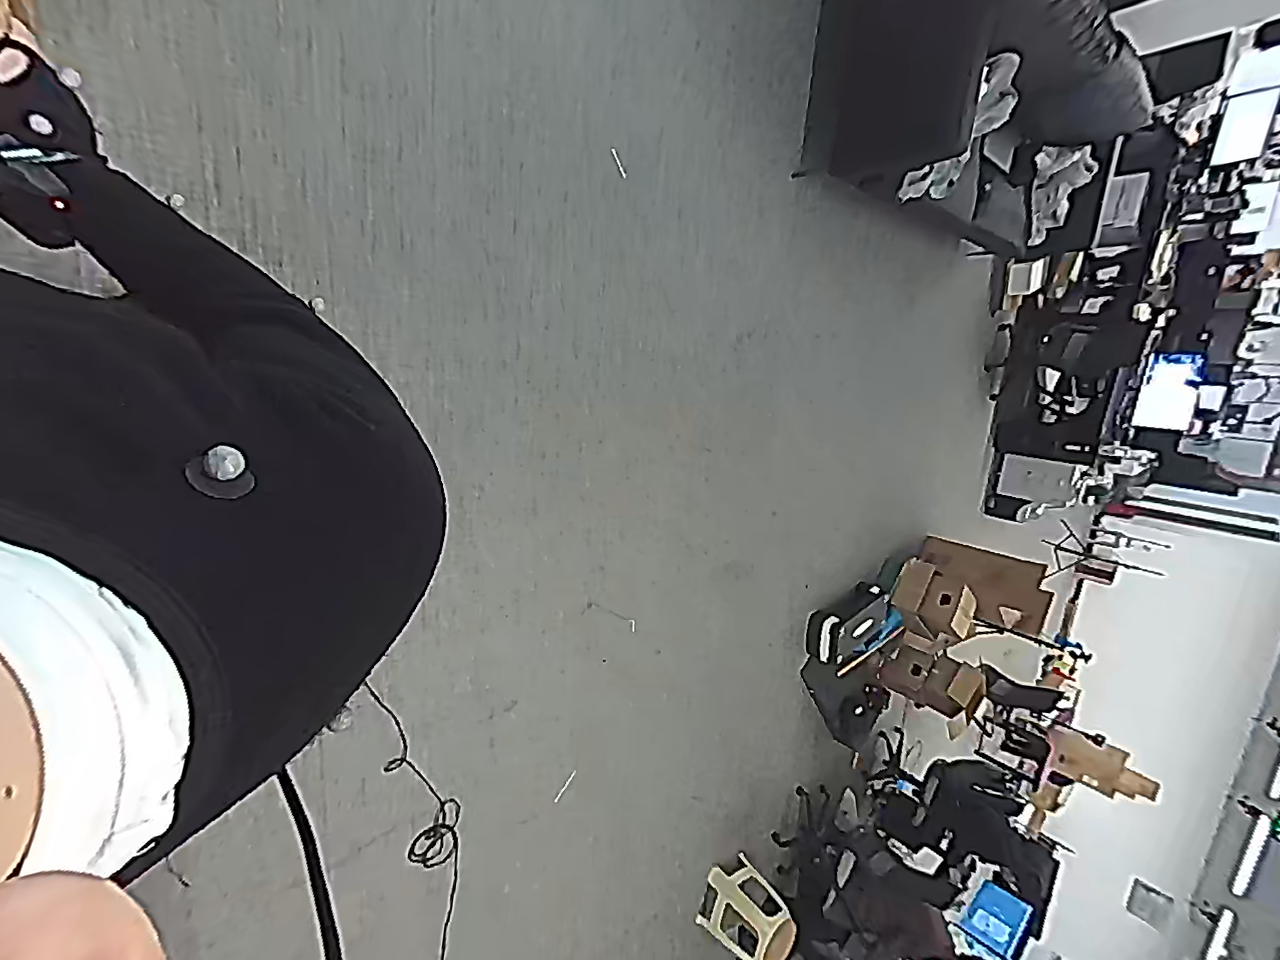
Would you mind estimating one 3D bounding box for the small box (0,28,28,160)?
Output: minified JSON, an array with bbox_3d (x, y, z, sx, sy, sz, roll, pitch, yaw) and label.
[{"bbox_3d":[-0.646,-0.383,0.437,0.179,0.176,0.168,-16,106,-41],"label":"small box"}]
